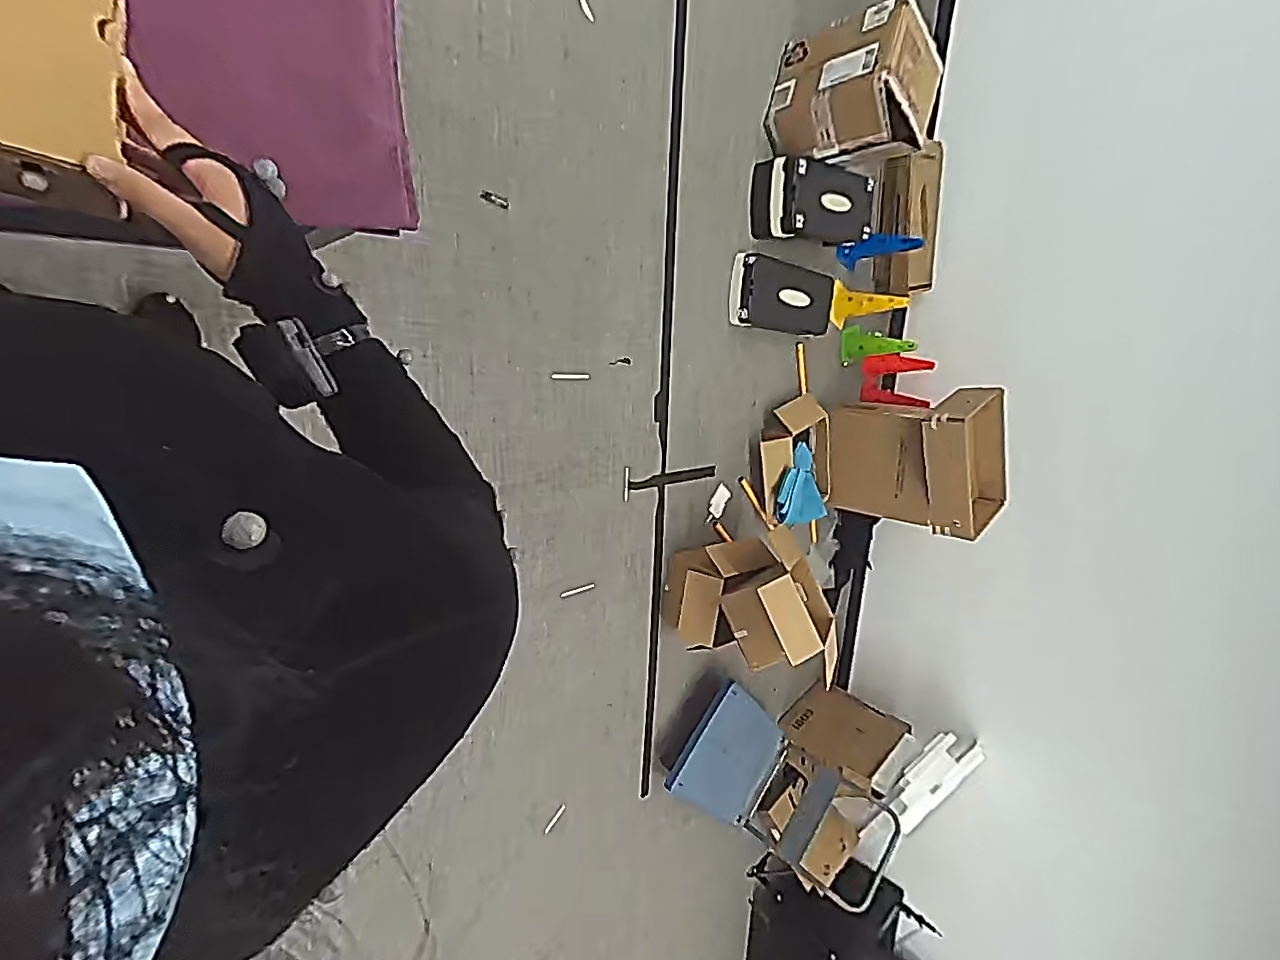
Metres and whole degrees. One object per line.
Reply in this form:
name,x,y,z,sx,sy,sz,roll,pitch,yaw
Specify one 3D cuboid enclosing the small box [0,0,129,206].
small box,-0.433,-0.288,0.328,0.179,0.176,0.168,-1,101,-45
